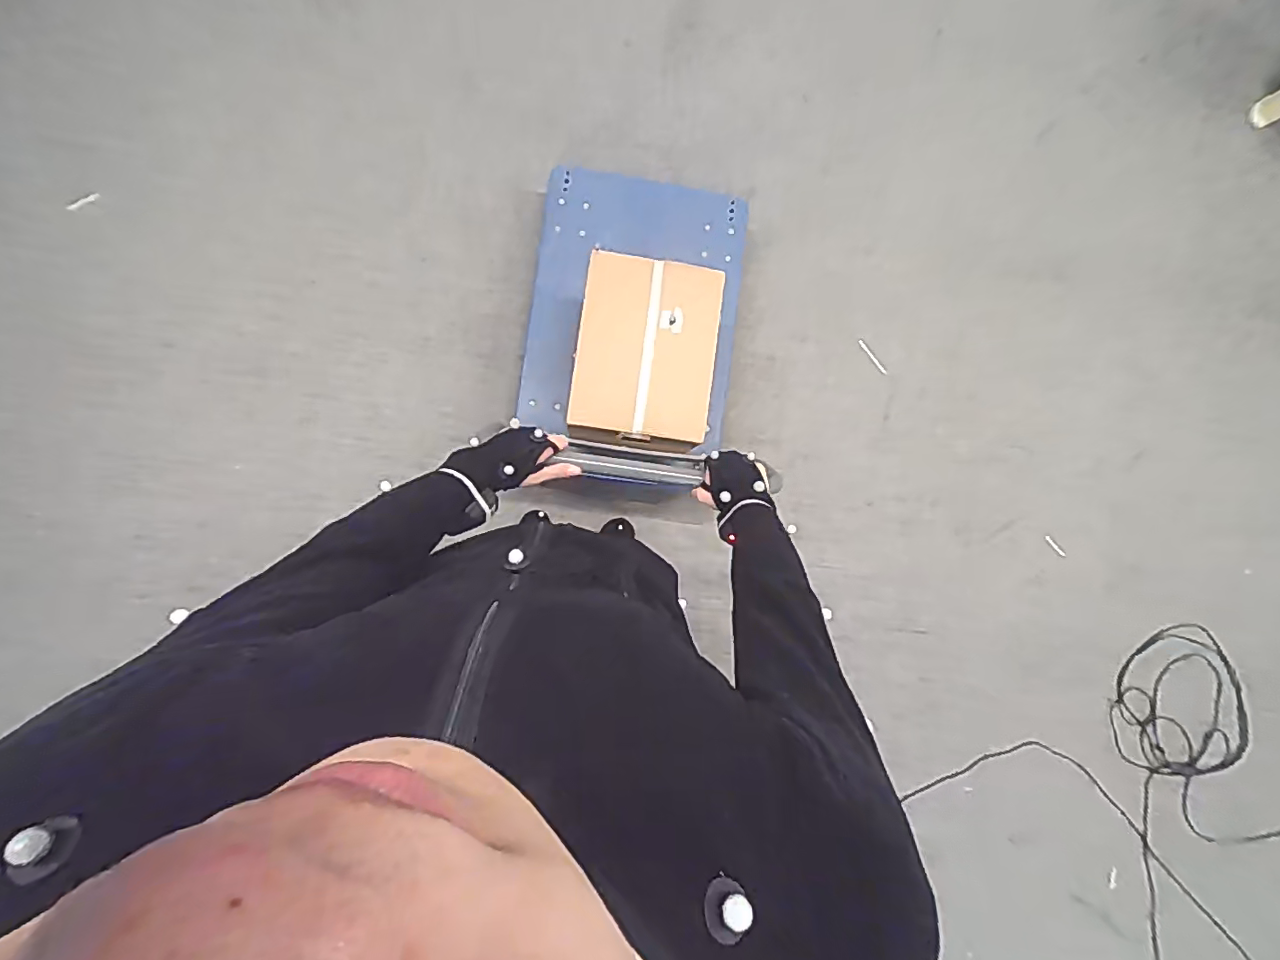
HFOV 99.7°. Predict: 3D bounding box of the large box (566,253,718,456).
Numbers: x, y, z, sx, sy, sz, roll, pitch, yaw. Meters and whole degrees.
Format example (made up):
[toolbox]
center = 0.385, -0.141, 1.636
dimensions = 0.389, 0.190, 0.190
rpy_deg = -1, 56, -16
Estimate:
[large box]
center = -0.004, -0.287, 1.365
dimensions = 0.320, 0.320, 0.408
rpy_deg = 8, 85, -6
